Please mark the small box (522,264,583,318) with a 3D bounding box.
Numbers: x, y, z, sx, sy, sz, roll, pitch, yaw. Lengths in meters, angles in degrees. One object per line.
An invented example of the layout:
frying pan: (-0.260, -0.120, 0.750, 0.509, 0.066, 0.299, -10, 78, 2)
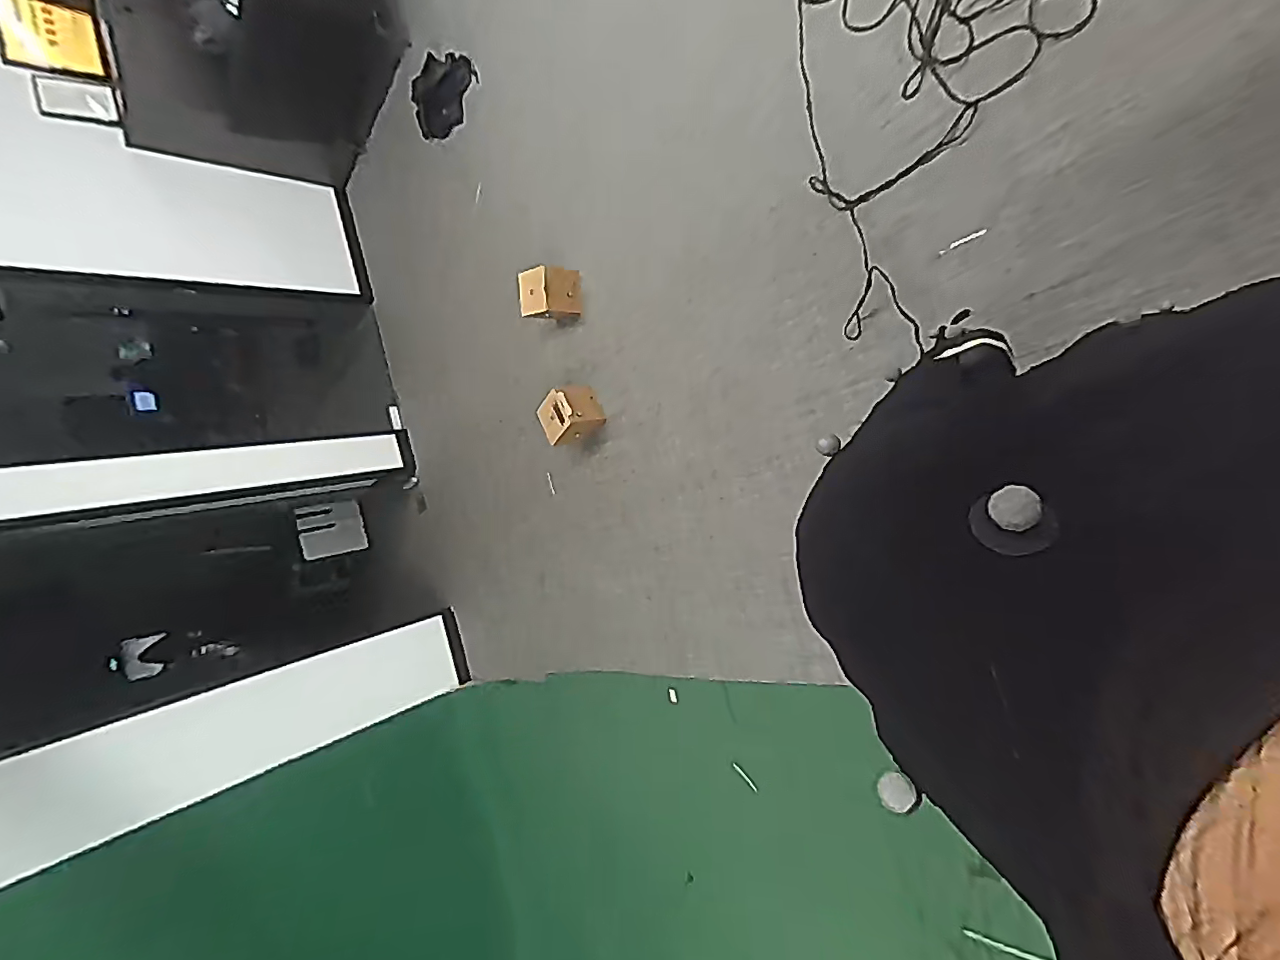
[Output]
small box: (-0.343, -0.736, 2.121, 0.179, 0.176, 0.168, 7, 103, 45)
